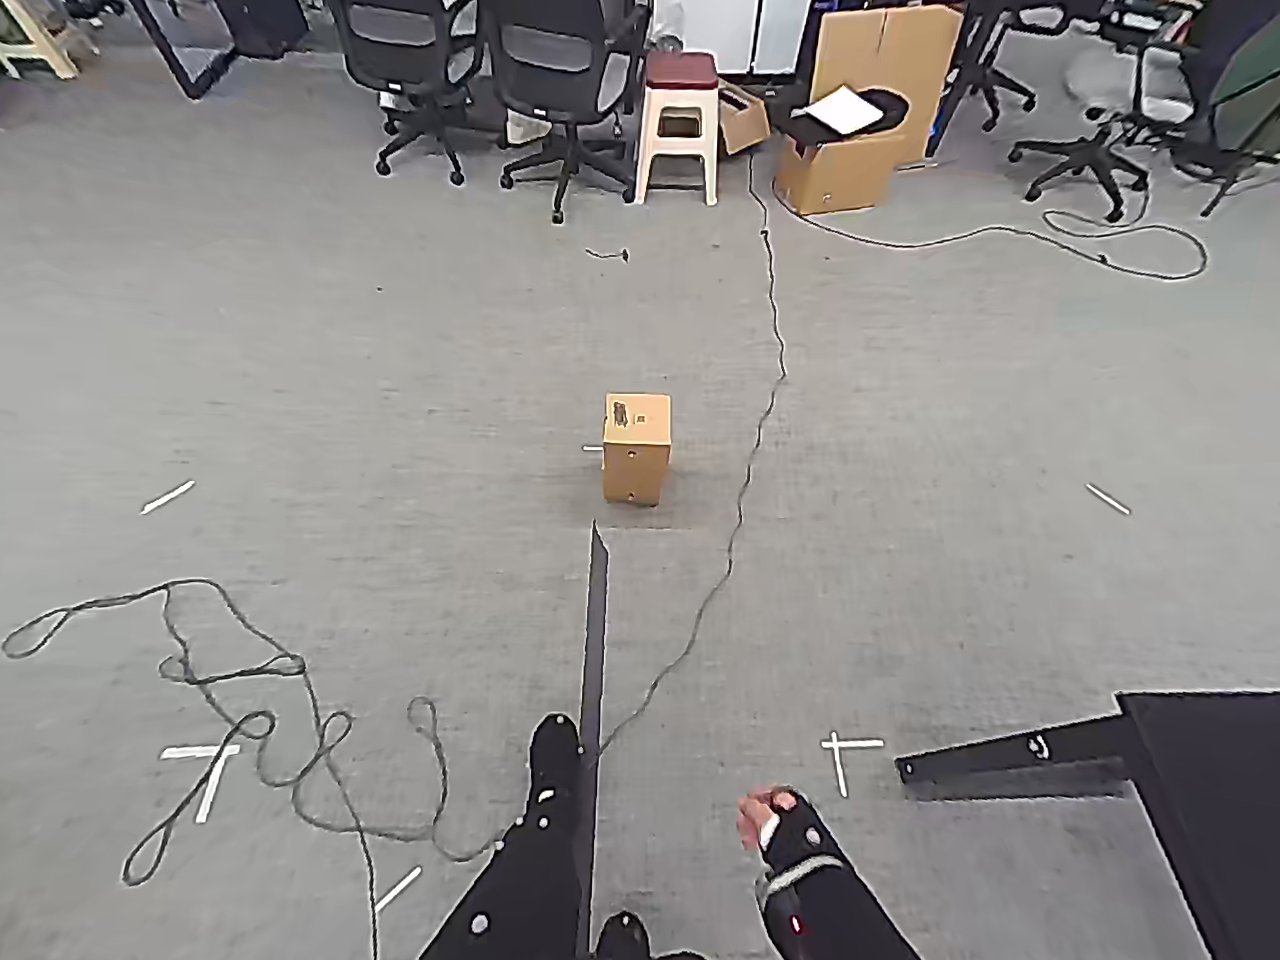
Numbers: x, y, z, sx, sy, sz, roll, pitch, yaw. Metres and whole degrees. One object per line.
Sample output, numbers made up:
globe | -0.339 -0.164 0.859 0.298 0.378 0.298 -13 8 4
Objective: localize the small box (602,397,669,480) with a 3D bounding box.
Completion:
small box | -0.011 -0.112 1.496 0.179 0.176 0.168 2 58 -1

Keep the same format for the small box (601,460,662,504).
small box | -0.019 -0.039 1.645 0.179 0.176 0.168 6 58 1
